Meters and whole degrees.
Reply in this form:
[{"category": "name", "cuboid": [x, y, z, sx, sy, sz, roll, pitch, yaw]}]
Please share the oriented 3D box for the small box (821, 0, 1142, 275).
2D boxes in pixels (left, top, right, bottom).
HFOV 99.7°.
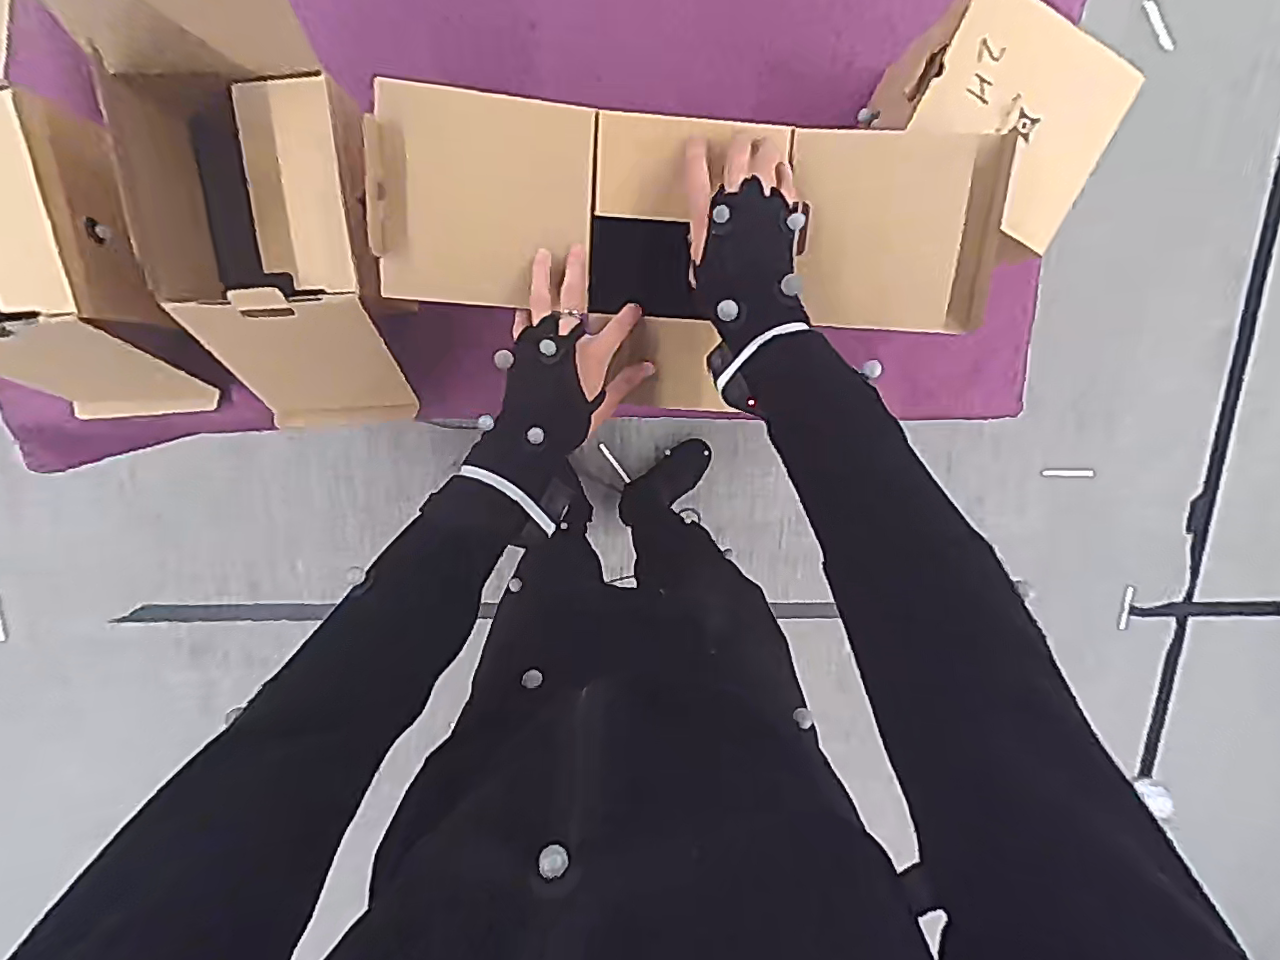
[{"category": "small box", "cuboid": [0.322, -0.327, 0.550, 0.179, 0.176, 0.168, 26, 99, -9]}]
